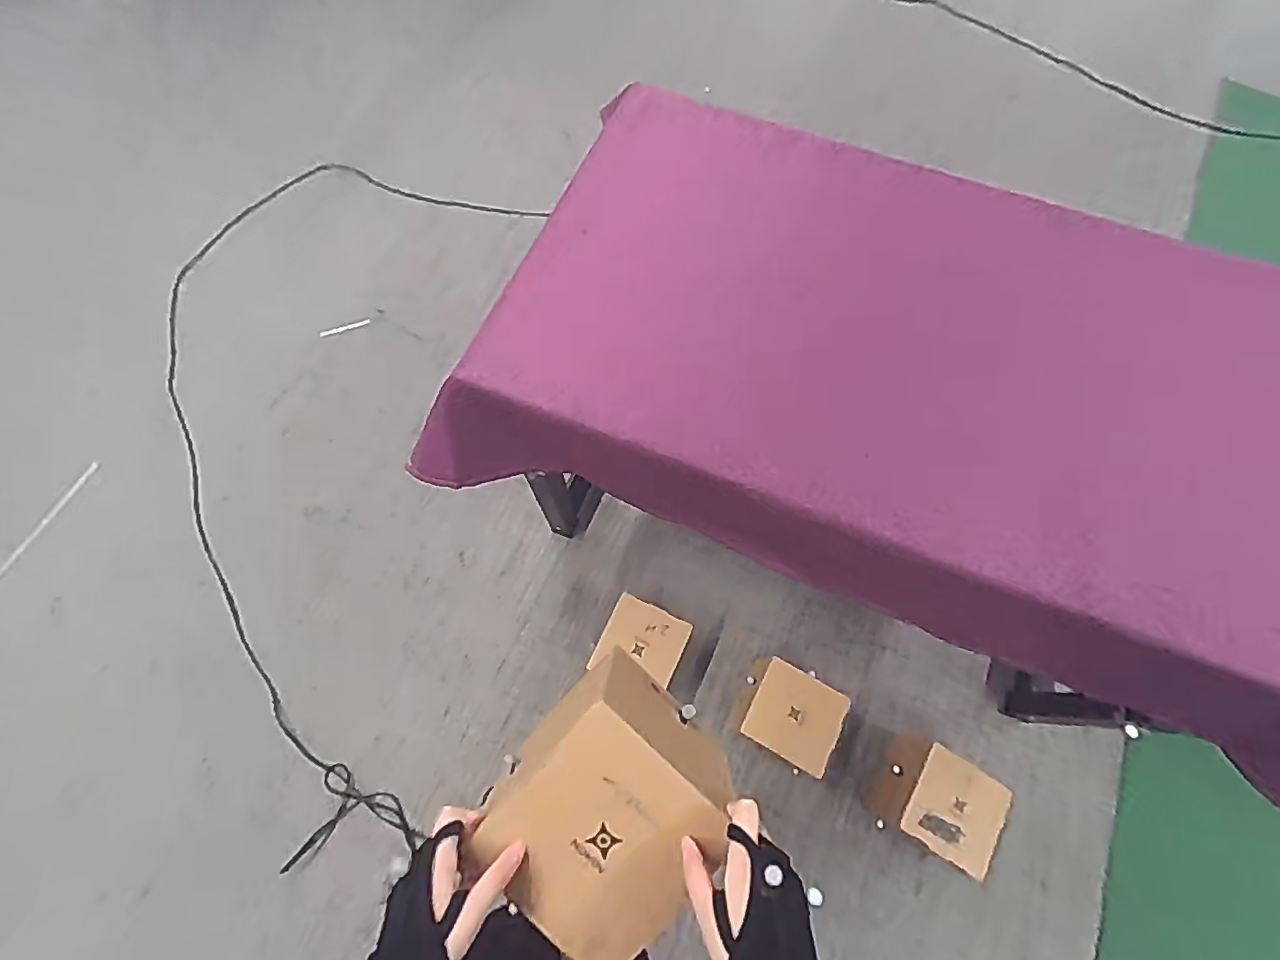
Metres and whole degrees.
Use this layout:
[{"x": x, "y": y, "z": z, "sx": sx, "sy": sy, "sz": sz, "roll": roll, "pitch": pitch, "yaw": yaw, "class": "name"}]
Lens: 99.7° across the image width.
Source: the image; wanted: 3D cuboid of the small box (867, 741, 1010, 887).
[{"x": 0.584, "y": 0.652, "z": 1.083, "sx": 0.168, "sy": 0.176, "sz": 0.179, "roll": 33, "pitch": 71, "yaw": 11, "class": "small box"}]

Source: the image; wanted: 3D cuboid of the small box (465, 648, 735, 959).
[{"x": -0.030, "y": 0.301, "z": 0.535, "sx": 0.168, "sy": 0.176, "sz": 0.179, "roll": 43, "pitch": 90, "yaw": 2, "class": "small box"}]
